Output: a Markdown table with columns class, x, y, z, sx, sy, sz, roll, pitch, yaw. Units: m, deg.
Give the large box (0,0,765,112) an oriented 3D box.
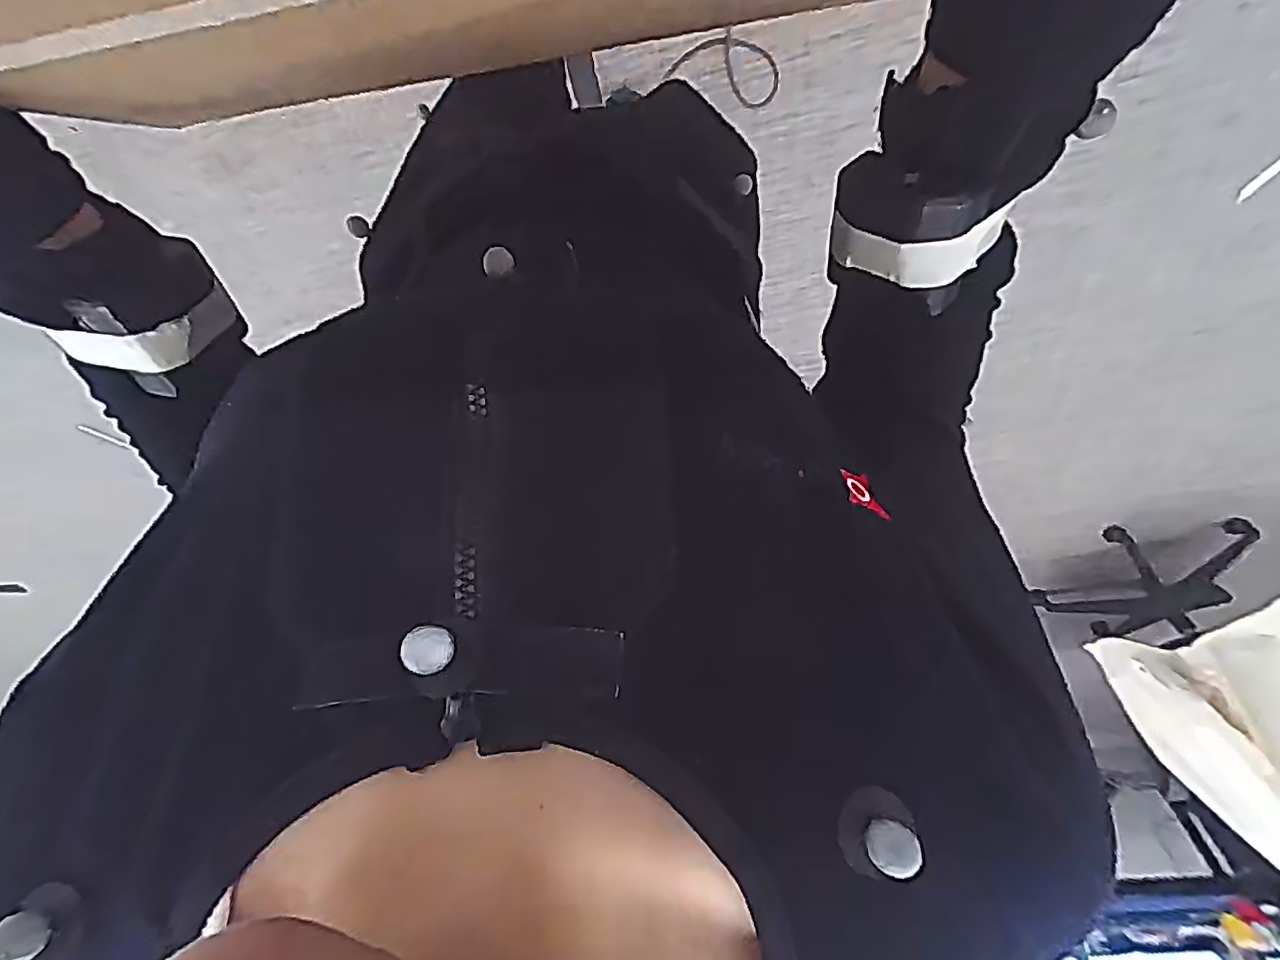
| class | x | y | z | sx | sy | sz | roll | pitch | yaw |
| --- | --- | --- | --- | --- | --- | --- | --- | --- | --- |
| large box | -0.090 | -0.294 | 0.087 | 0.408 | 0.320 | 0.320 | -6 | 118 | 5 |
